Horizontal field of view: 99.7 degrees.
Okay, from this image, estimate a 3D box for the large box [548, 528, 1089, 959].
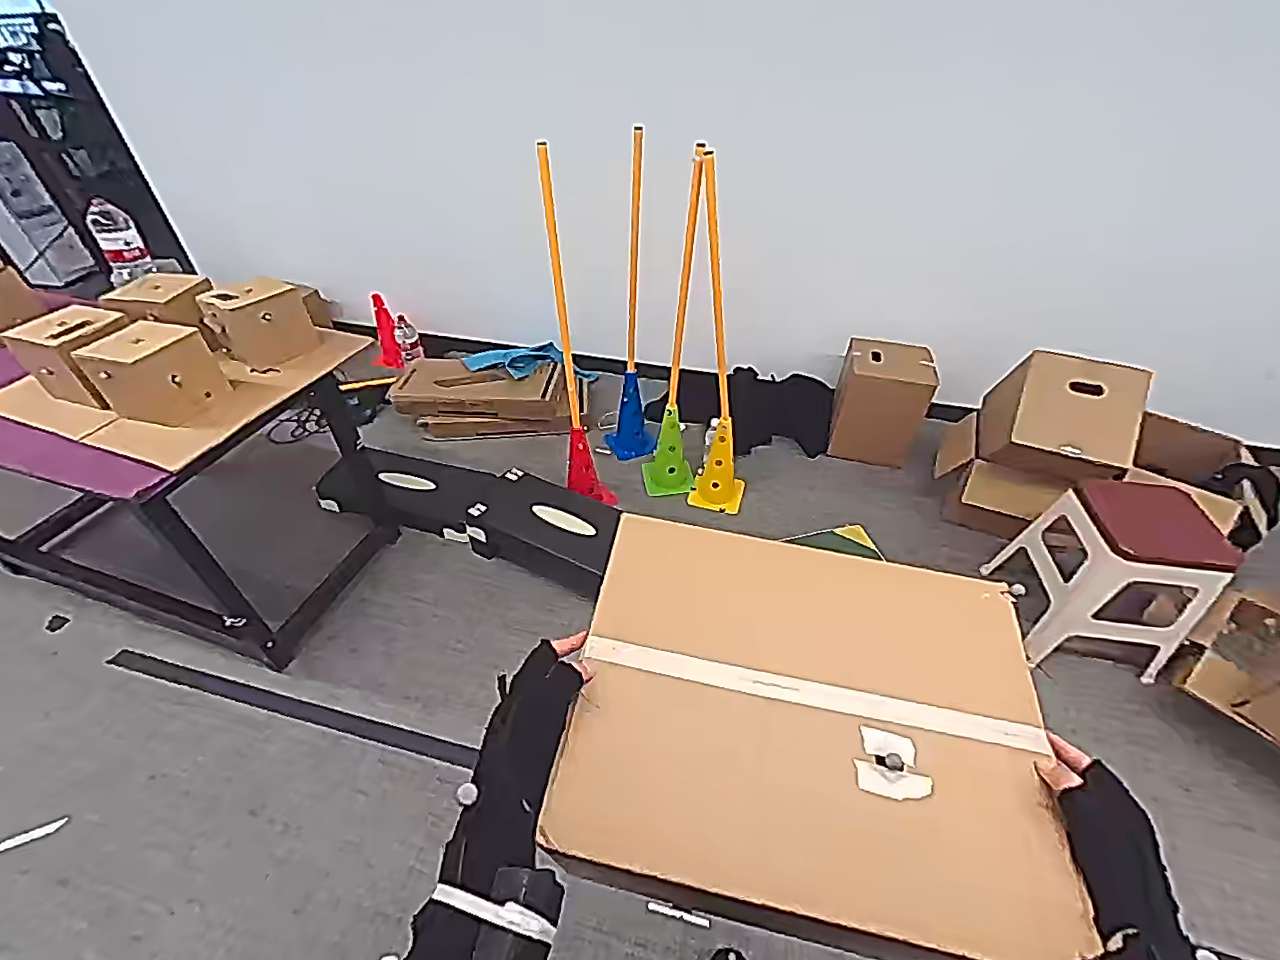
[{"bbox_3d":[0.142,0.293,0.602,0.408,0.320,0.320,10,52,5],"label":"large box"}]
